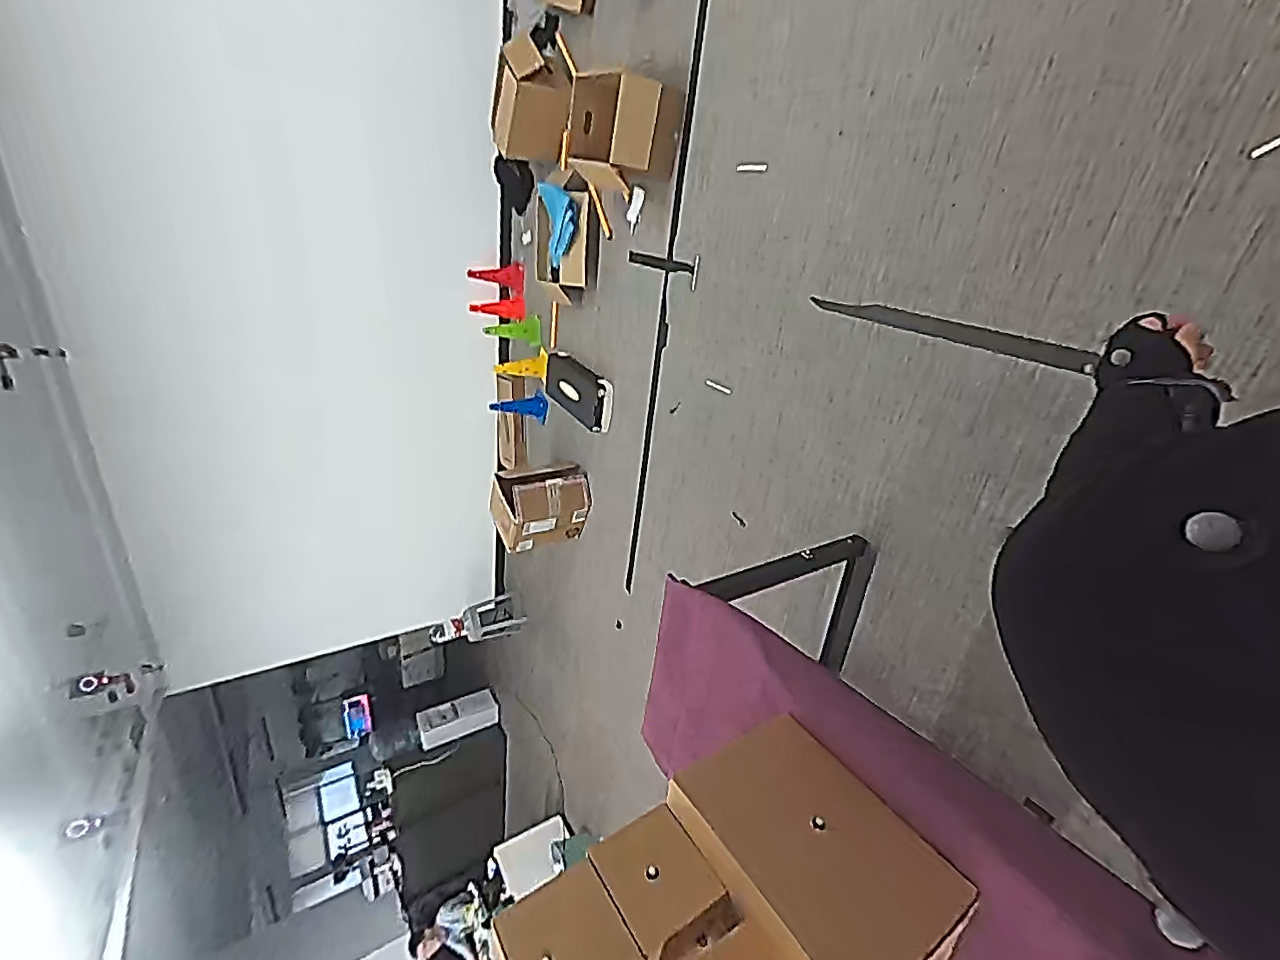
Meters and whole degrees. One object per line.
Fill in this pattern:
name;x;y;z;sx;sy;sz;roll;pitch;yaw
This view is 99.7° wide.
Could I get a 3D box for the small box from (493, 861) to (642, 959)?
small box;-0.108;0.734;0.812;0.179;0.176;0.168;36;127;47
